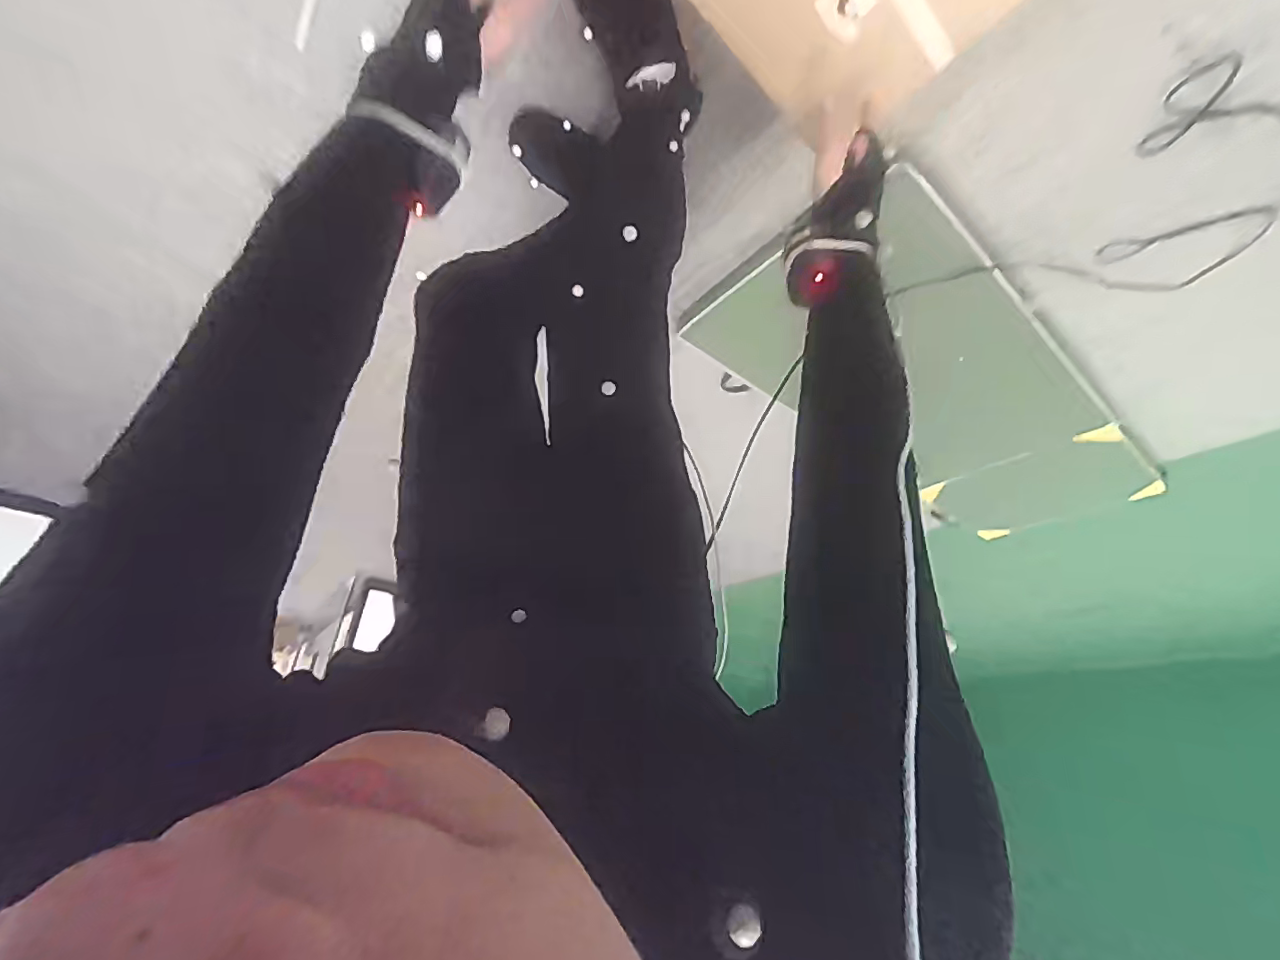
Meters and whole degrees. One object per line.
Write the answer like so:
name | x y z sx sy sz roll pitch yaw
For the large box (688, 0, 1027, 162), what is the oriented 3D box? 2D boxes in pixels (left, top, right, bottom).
large box | 0.207 -0.675 0.589 0.408 0.320 0.320 25 144 -35
